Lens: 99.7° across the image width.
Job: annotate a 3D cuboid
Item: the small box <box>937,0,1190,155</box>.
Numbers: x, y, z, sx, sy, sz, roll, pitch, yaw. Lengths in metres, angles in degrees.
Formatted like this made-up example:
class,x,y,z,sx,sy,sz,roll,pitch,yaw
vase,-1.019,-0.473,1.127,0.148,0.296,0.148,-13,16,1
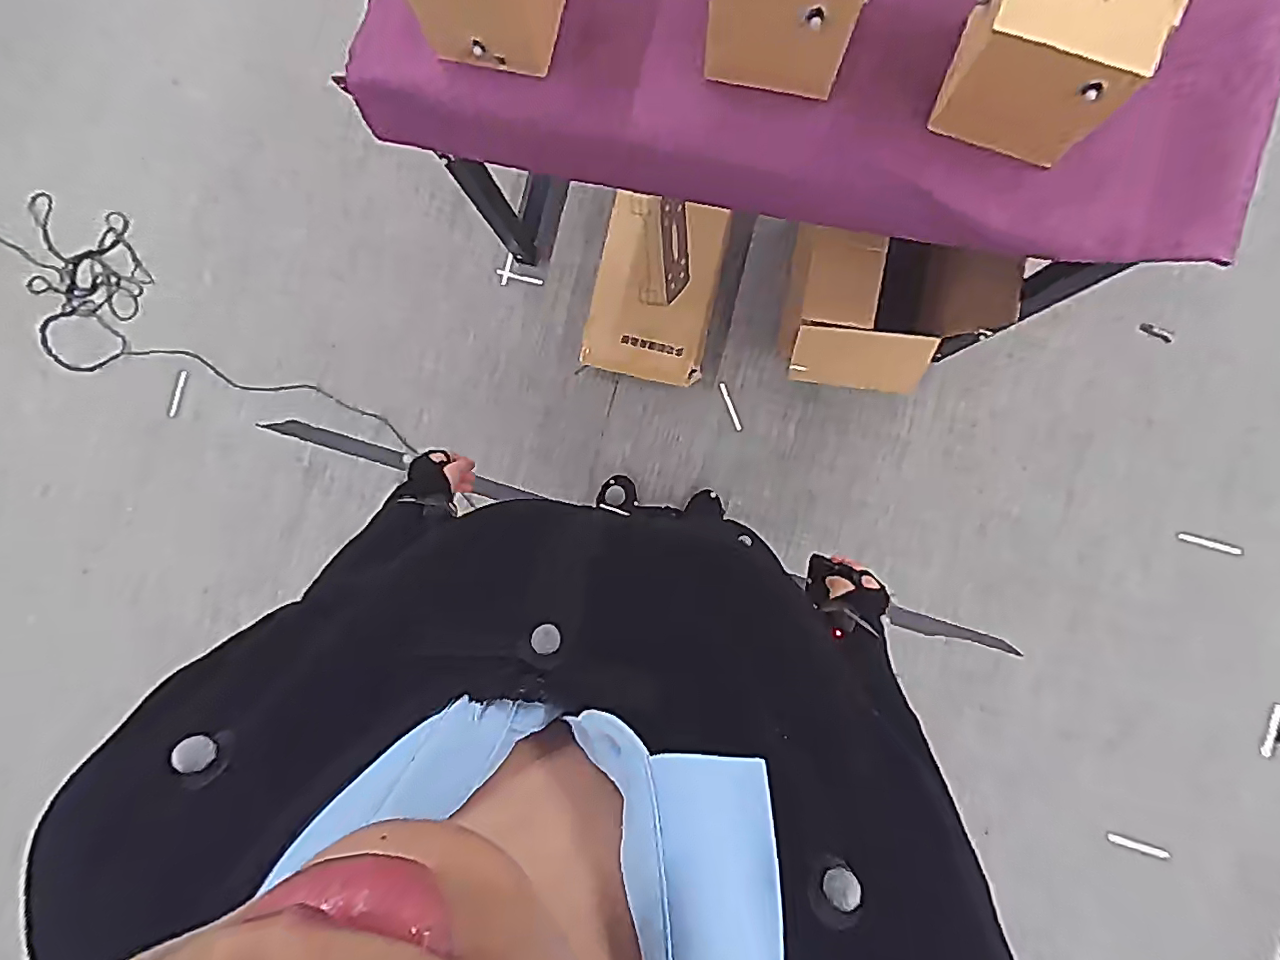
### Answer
class,x,y,z,sx,sy,sz,roll,pitch,yaw
small box,0.496,-0.530,0.646,0.179,0.176,0.168,21,91,4

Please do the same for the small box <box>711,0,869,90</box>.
class,x,y,z,sx,sy,sz,roll,pitch,yaw
small box,0.194,-0.629,0.668,0.179,0.176,0.168,14,88,4
